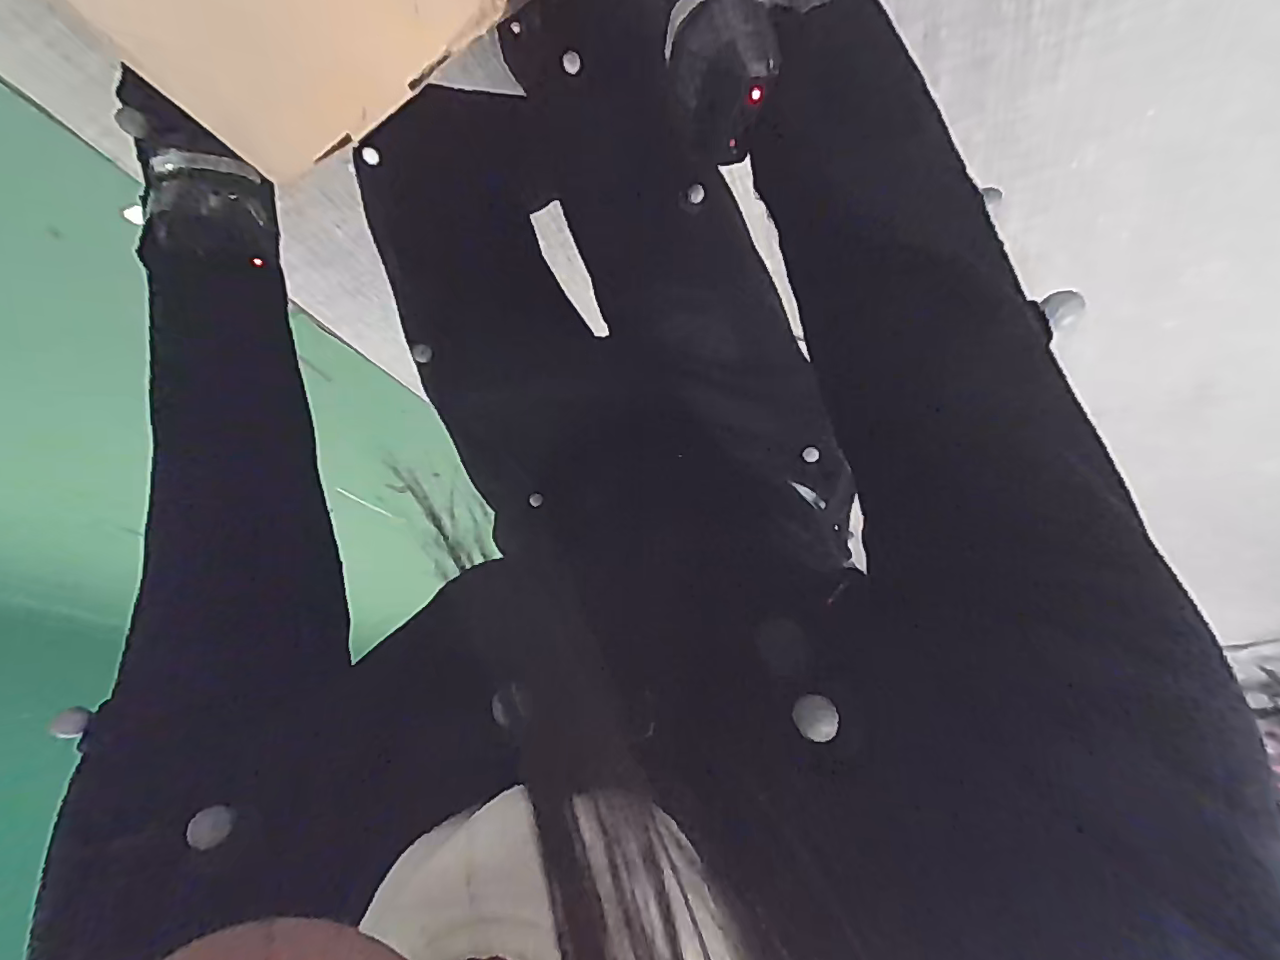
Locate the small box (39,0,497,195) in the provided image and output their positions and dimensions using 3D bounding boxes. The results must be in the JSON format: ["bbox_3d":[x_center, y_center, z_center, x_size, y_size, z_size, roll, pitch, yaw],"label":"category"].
[{"bbox_3d":[-0.165,-0.279,0.236,0.168,0.176,0.179,-15,146,27],"label":"small box"}]
